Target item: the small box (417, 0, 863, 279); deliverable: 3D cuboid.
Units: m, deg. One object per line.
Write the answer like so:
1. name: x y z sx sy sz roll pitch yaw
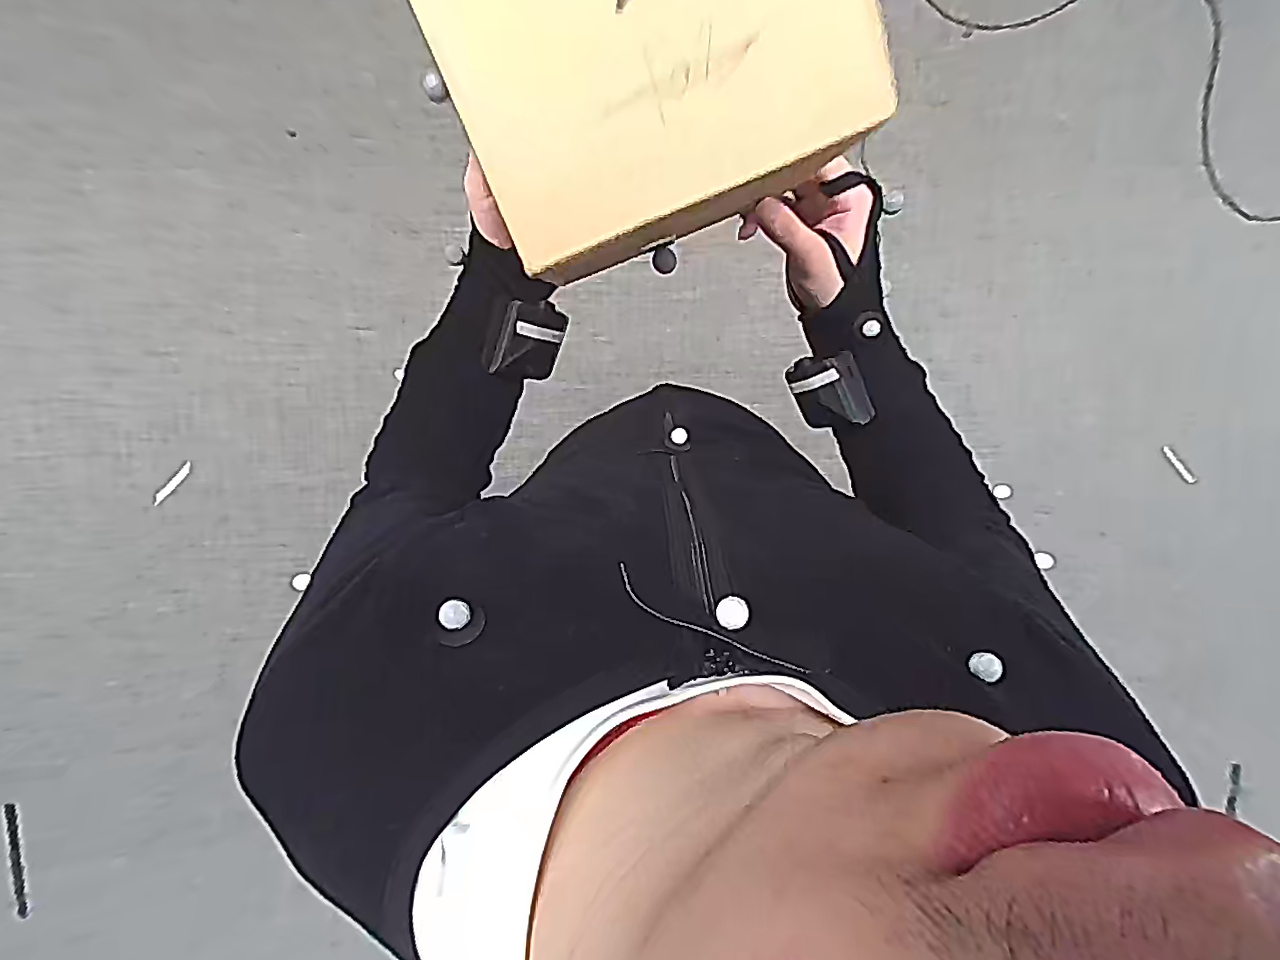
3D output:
1. small box: -0.009 -0.224 0.293 0.168 0.176 0.179 -20 108 5
